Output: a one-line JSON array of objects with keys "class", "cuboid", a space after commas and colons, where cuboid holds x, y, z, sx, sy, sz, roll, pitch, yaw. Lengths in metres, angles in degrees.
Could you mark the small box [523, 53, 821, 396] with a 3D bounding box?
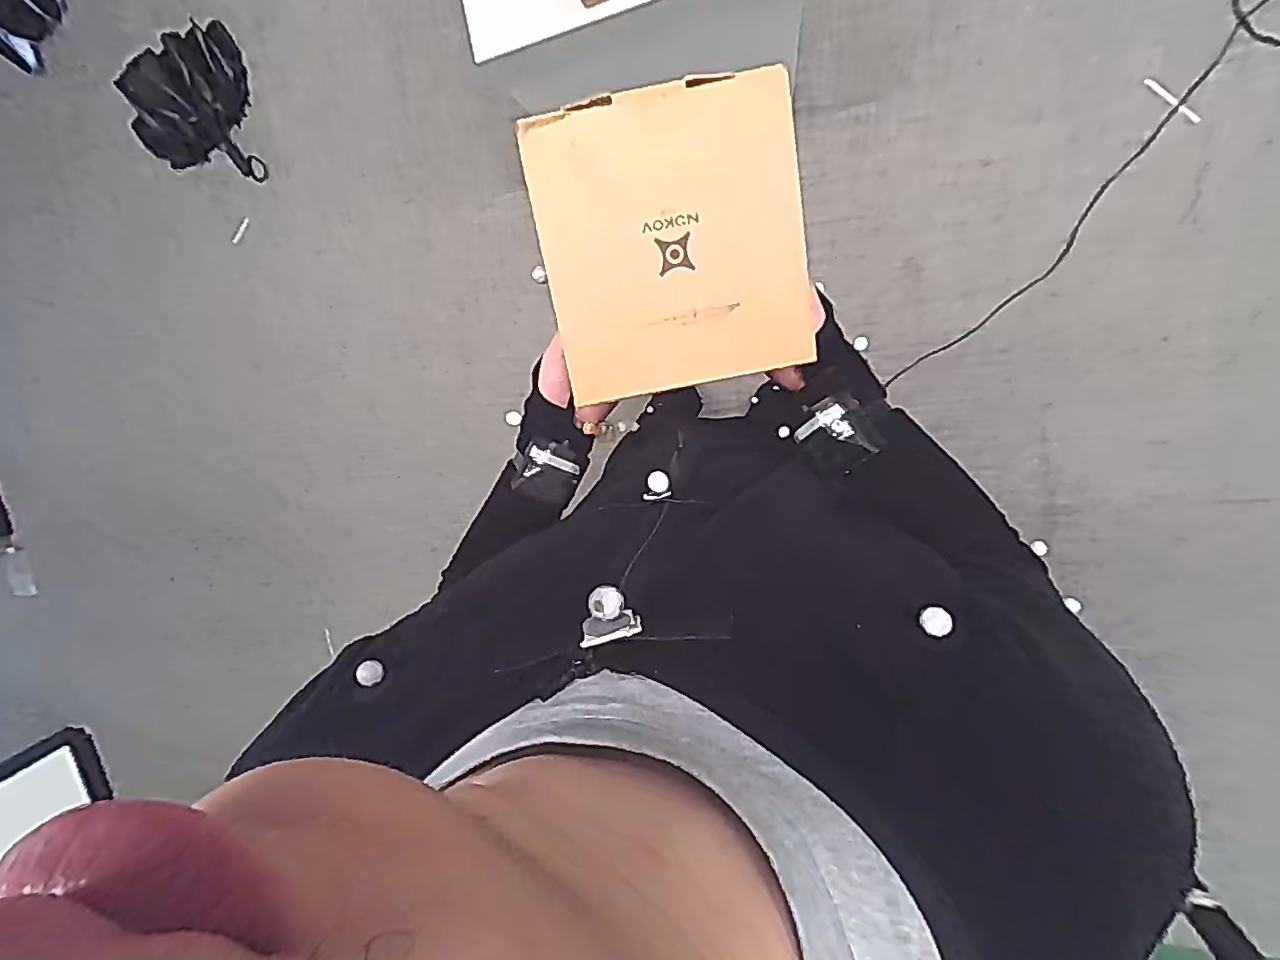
[{"class": "small box", "cuboid": [0.022, -0.173, 0.413, 0.168, 0.176, 0.179, -11, 106, 2]}]
